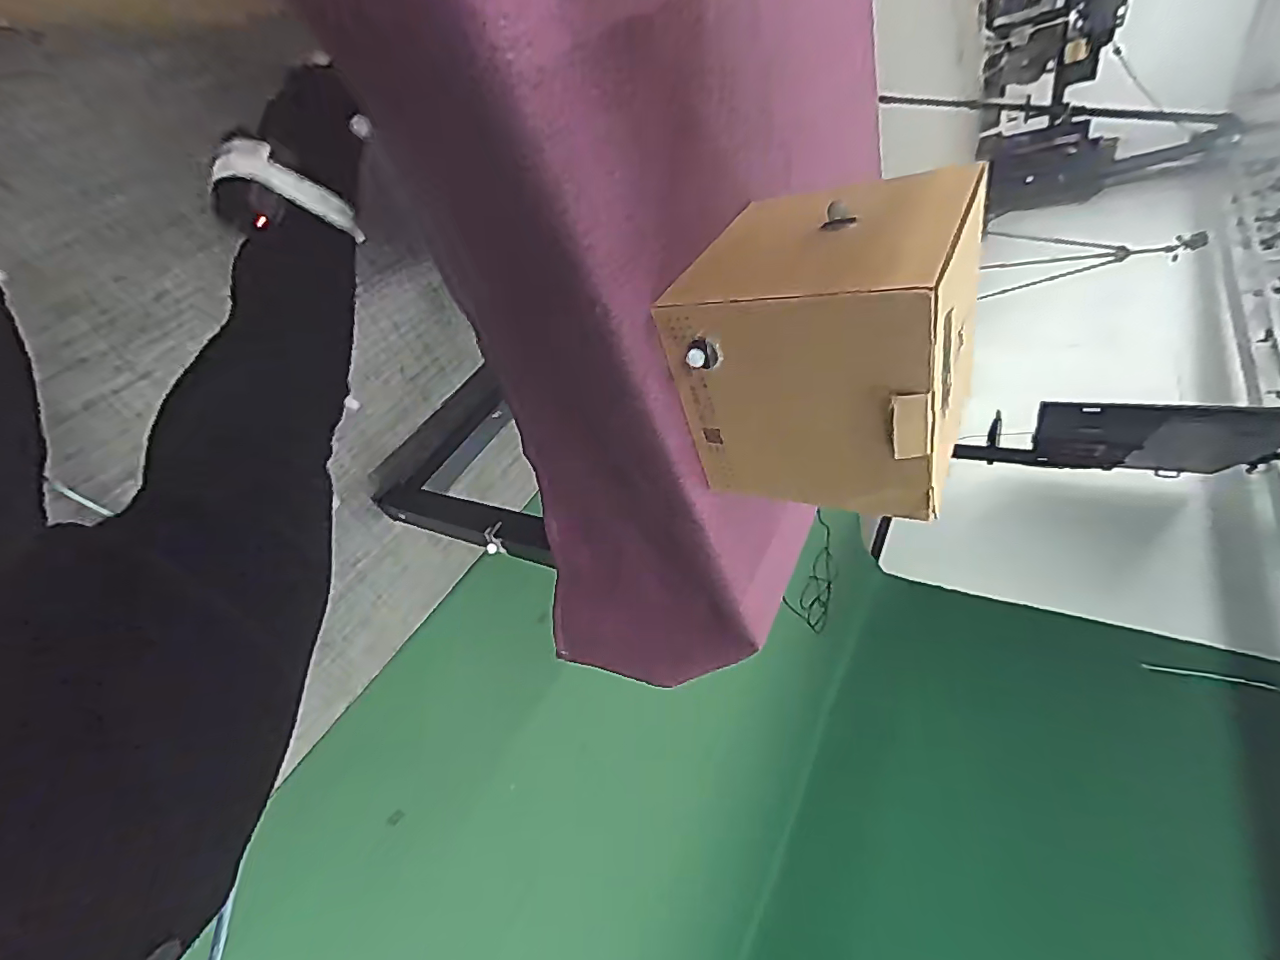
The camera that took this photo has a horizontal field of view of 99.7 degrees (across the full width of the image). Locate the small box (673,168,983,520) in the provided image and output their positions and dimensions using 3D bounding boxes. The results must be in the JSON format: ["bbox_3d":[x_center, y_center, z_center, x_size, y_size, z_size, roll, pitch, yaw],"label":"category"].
[{"bbox_3d":[0.140,-0.097,0.399,0.179,0.176,0.168,-54,137,-34],"label":"small box"}]
